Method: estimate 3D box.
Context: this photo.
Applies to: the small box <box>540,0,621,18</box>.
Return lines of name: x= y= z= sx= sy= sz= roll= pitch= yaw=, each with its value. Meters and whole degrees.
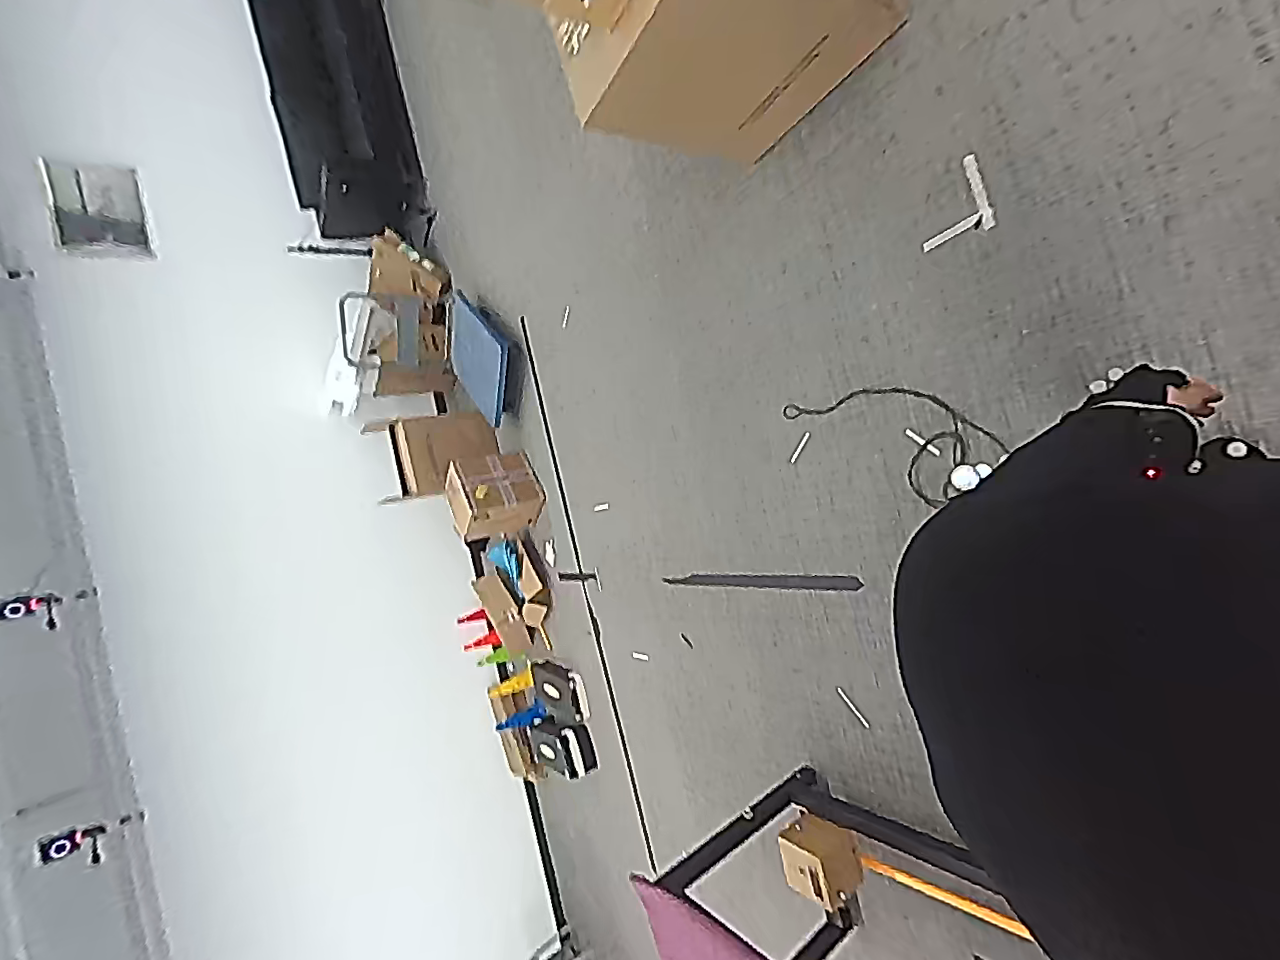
small box: x=-0.108 y=-1.062 z=1.062 sx=0.168 sy=0.176 sz=0.179 roll=-15 pitch=87 yaw=57
